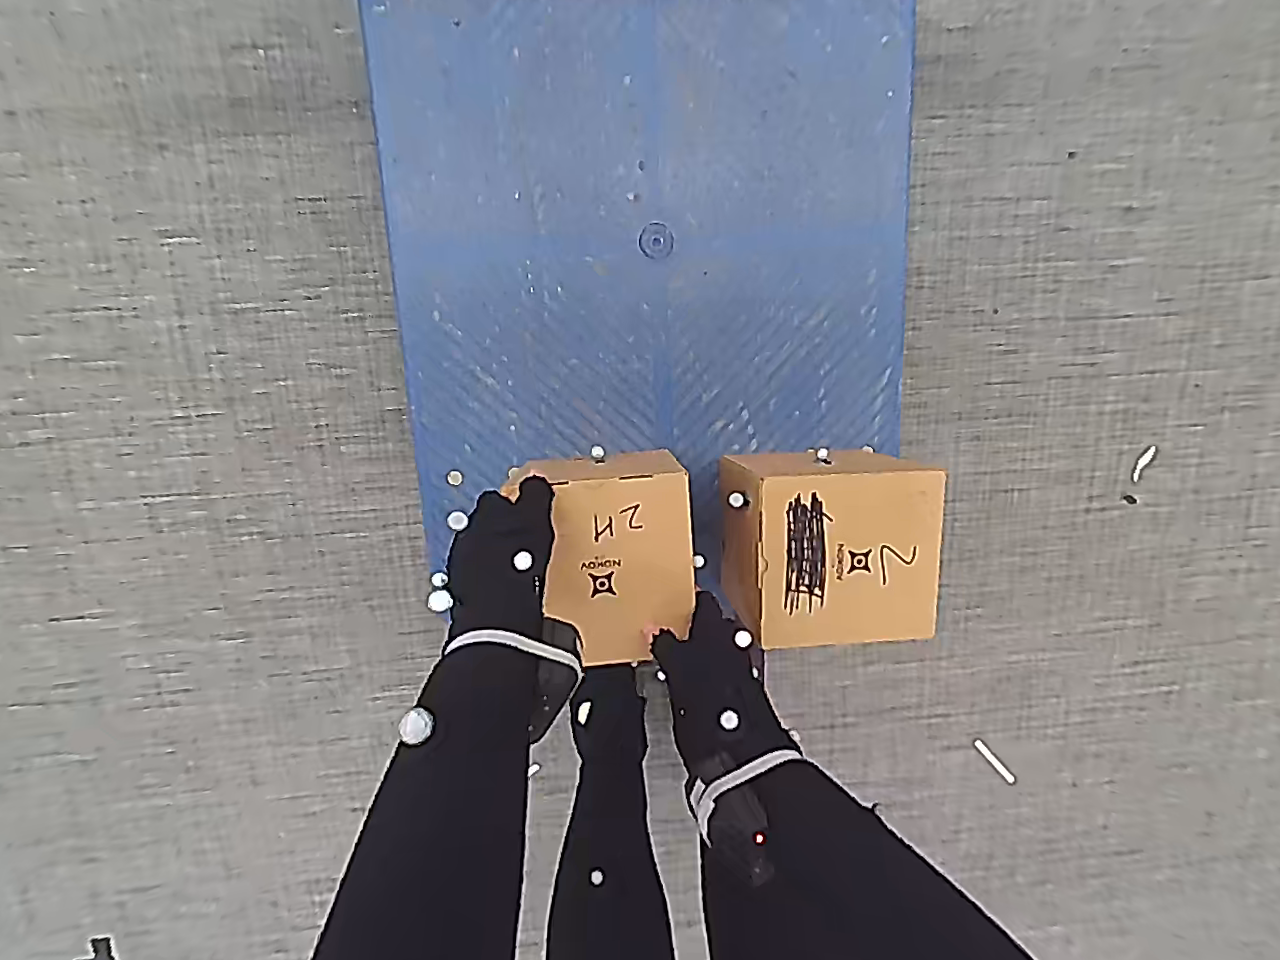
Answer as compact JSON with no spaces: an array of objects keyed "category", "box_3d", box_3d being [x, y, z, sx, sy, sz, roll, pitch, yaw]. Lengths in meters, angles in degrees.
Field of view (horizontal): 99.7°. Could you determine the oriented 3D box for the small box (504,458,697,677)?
[{"category":"small box","box_3d":[-0.035,0.078,0.564,0.168,0.176,0.179,-5,99,-2]}]
